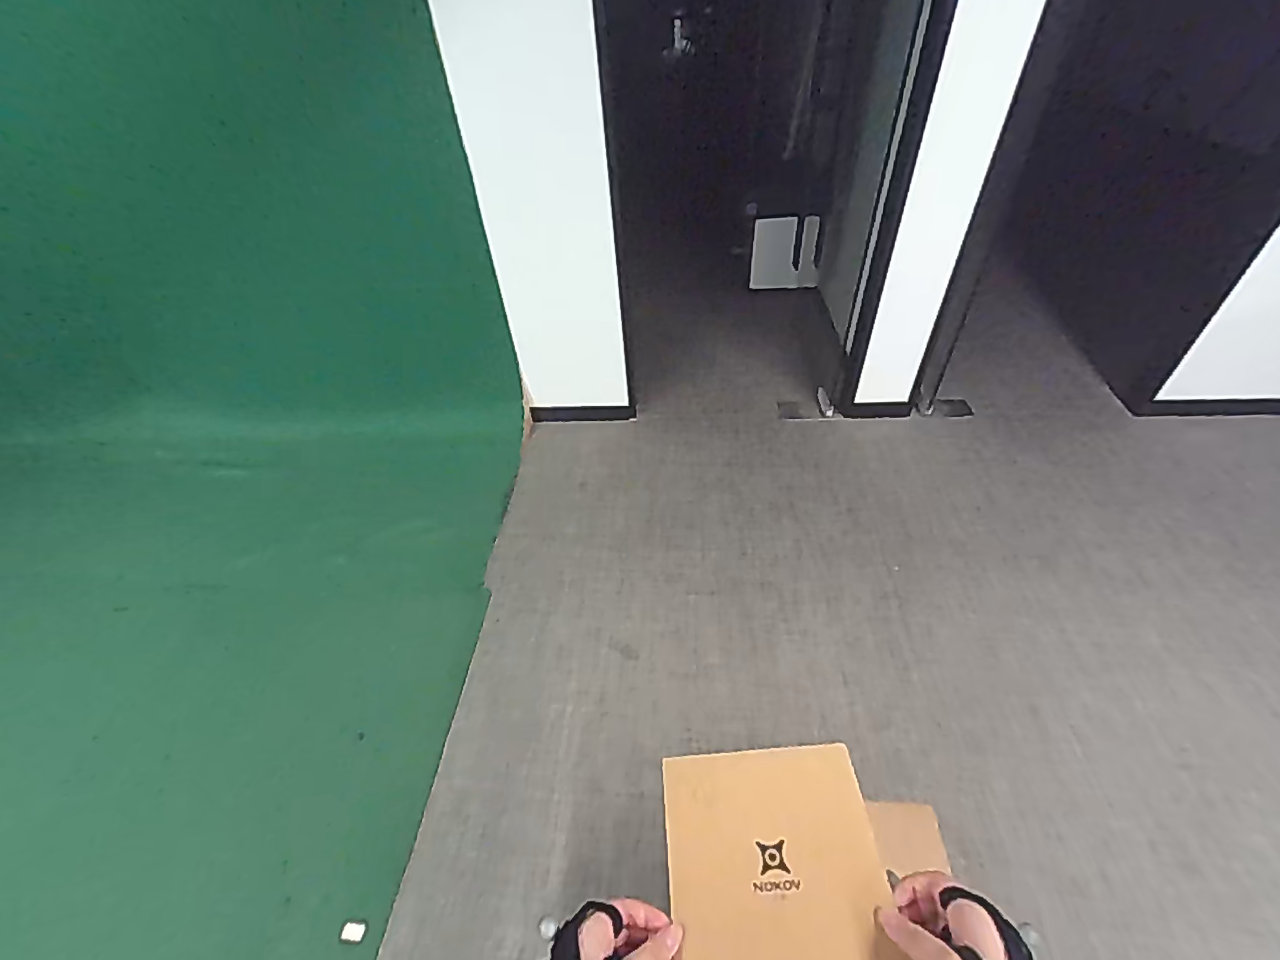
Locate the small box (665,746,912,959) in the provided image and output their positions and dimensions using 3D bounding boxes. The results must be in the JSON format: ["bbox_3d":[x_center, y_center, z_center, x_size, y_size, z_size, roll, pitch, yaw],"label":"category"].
[{"bbox_3d":[0.114,0.360,0.471,0.168,0.176,0.179,-7,43,3],"label":"small box"}]
